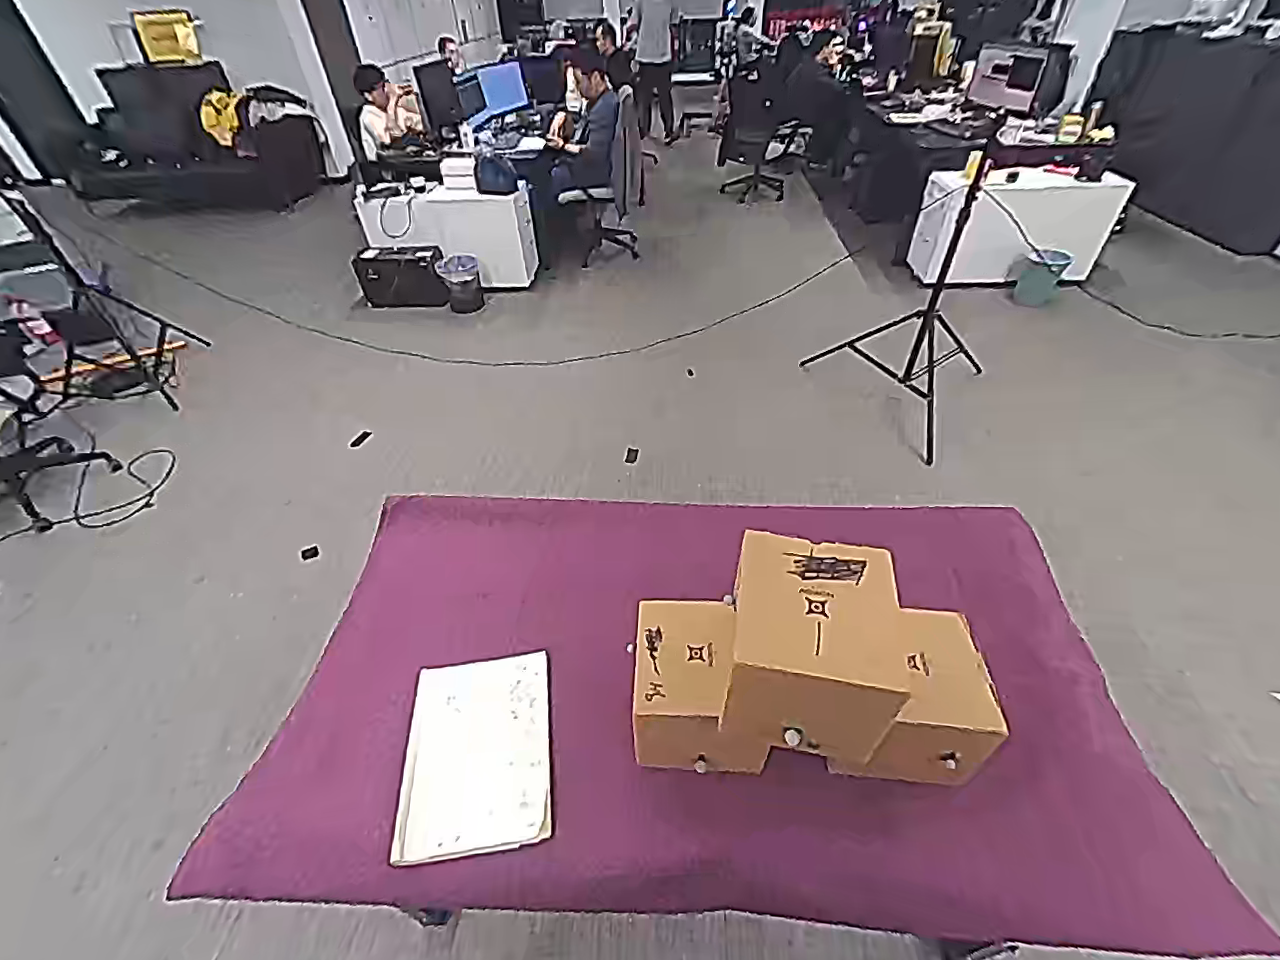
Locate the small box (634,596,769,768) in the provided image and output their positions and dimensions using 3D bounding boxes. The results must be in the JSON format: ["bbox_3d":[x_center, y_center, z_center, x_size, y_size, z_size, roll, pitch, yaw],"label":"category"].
[{"bbox_3d":[0.085,0.281,0.752,0.179,0.176,0.168,1,41,3],"label":"small box"}]

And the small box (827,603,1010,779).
[{"bbox_3d":[0.350,0.284,0.733,0.179,0.176,0.168,1,40,8],"label":"small box"}]

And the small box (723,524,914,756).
[{"bbox_3d":[0.188,0.178,0.614,0.168,0.176,0.179,7,43,10],"label":"small box"}]
